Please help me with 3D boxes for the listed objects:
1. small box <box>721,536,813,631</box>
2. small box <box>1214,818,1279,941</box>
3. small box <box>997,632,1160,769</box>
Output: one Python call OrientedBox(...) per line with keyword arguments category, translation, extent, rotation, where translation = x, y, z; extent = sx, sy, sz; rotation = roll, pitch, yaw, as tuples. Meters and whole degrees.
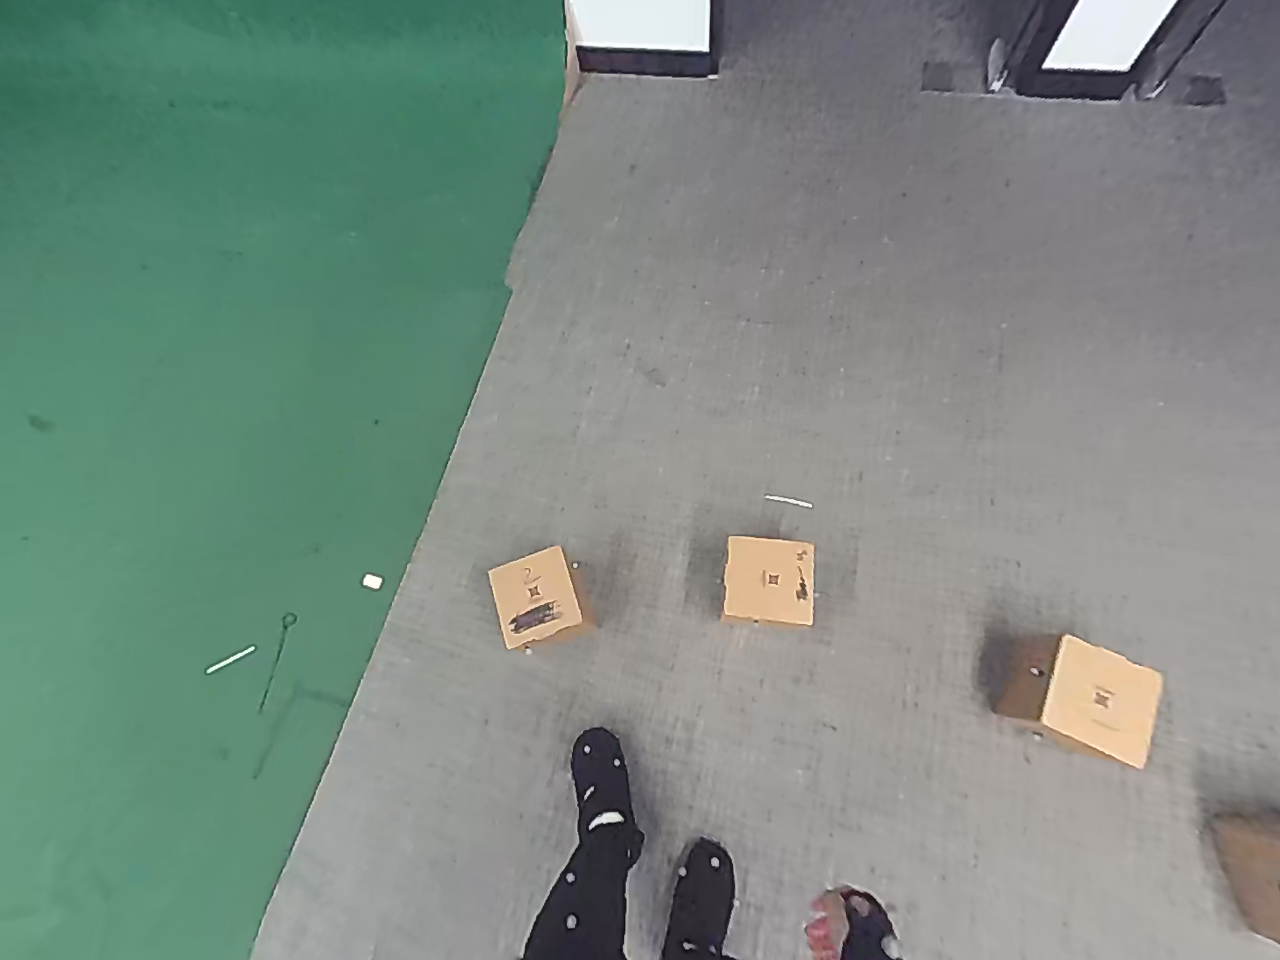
OrientedBox(category="small box", translation=(0.267, 0.226, 1.161), extent=(0.179, 0.176, 0.168), rotation=(5, 71, 9))
OrientedBox(category="small box", translation=(1.138, 0.678, 0.900), extent=(0.168, 0.176, 0.179), rotation=(-6, 70, 4))
OrientedBox(category="small box", translation=(0.823, 0.413, 1.033), extent=(0.168, 0.176, 0.179), rotation=(24, 74, 15))
